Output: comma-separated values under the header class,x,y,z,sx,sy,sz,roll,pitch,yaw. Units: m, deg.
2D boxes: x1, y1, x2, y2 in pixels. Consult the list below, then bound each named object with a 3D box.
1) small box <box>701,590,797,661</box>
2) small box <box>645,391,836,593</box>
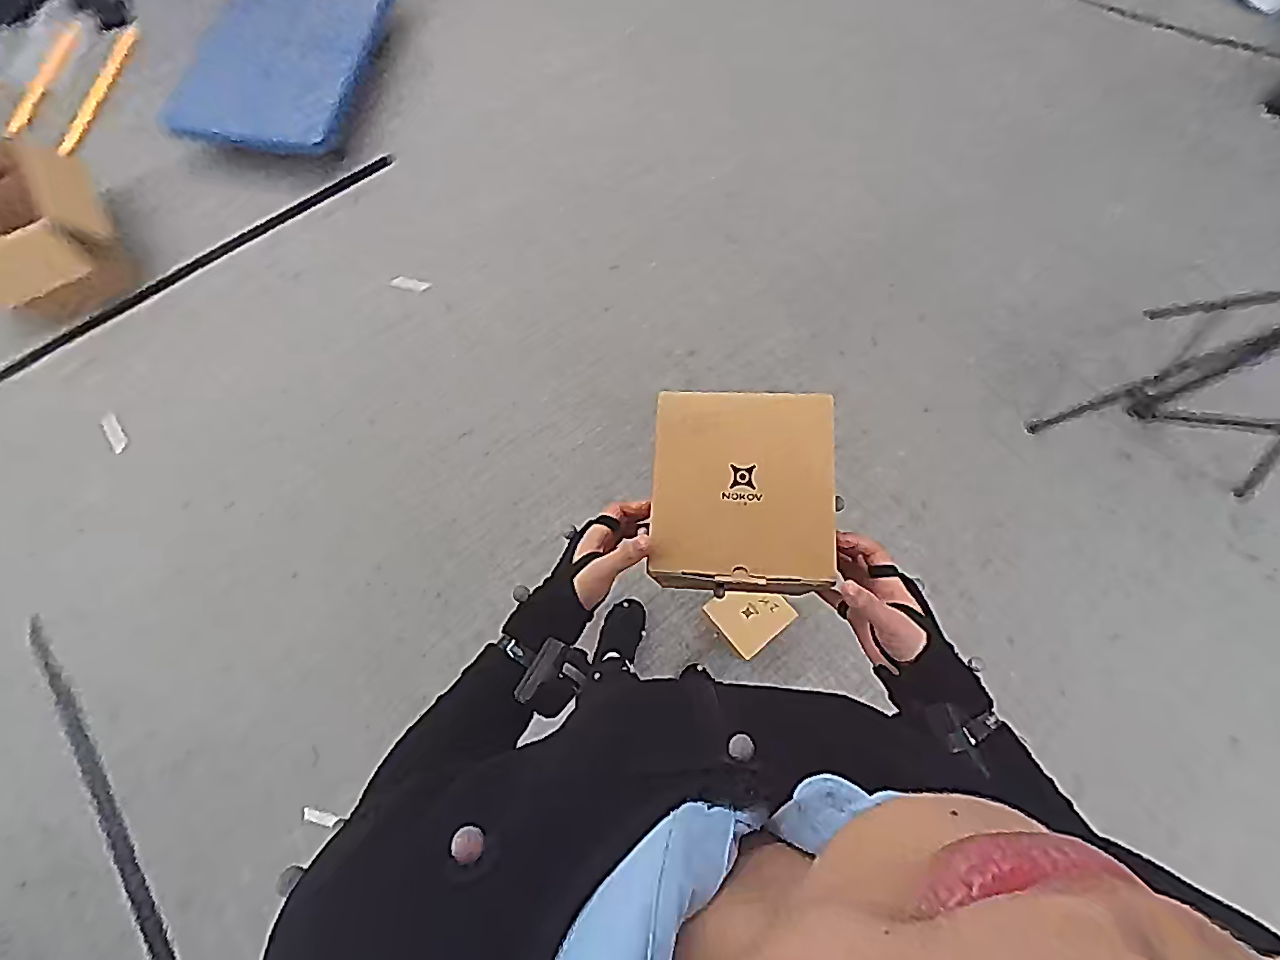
class,x,y,z,sx,sy,sz,roll,pitch,yaw
small box,0.273,0.350,1.403,0.179,0.176,0.168,-37,76,-10
small box,0.096,0.021,0.561,0.168,0.176,0.179,1,76,6
